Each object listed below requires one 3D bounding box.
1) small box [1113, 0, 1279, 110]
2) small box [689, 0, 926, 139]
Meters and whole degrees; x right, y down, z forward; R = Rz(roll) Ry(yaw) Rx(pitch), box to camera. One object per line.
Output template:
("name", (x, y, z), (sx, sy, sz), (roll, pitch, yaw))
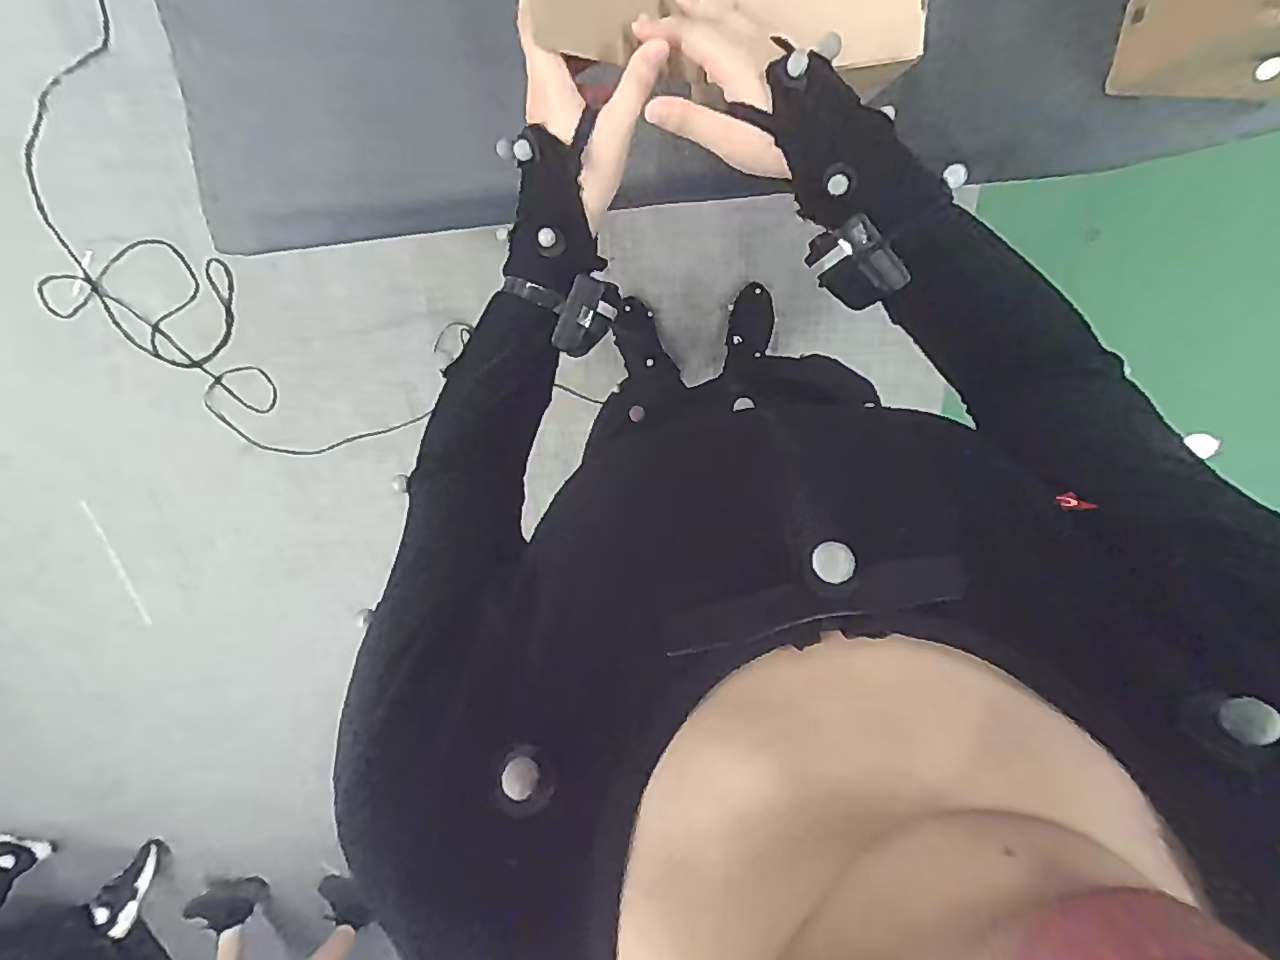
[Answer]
("small box", (0.567, -0.435, 0.458), (0.179, 0.176, 0.168), (3, 110, 2))
("small box", (0.135, -0.424, 0.483), (0.179, 0.176, 0.168), (-3, 111, 6))
